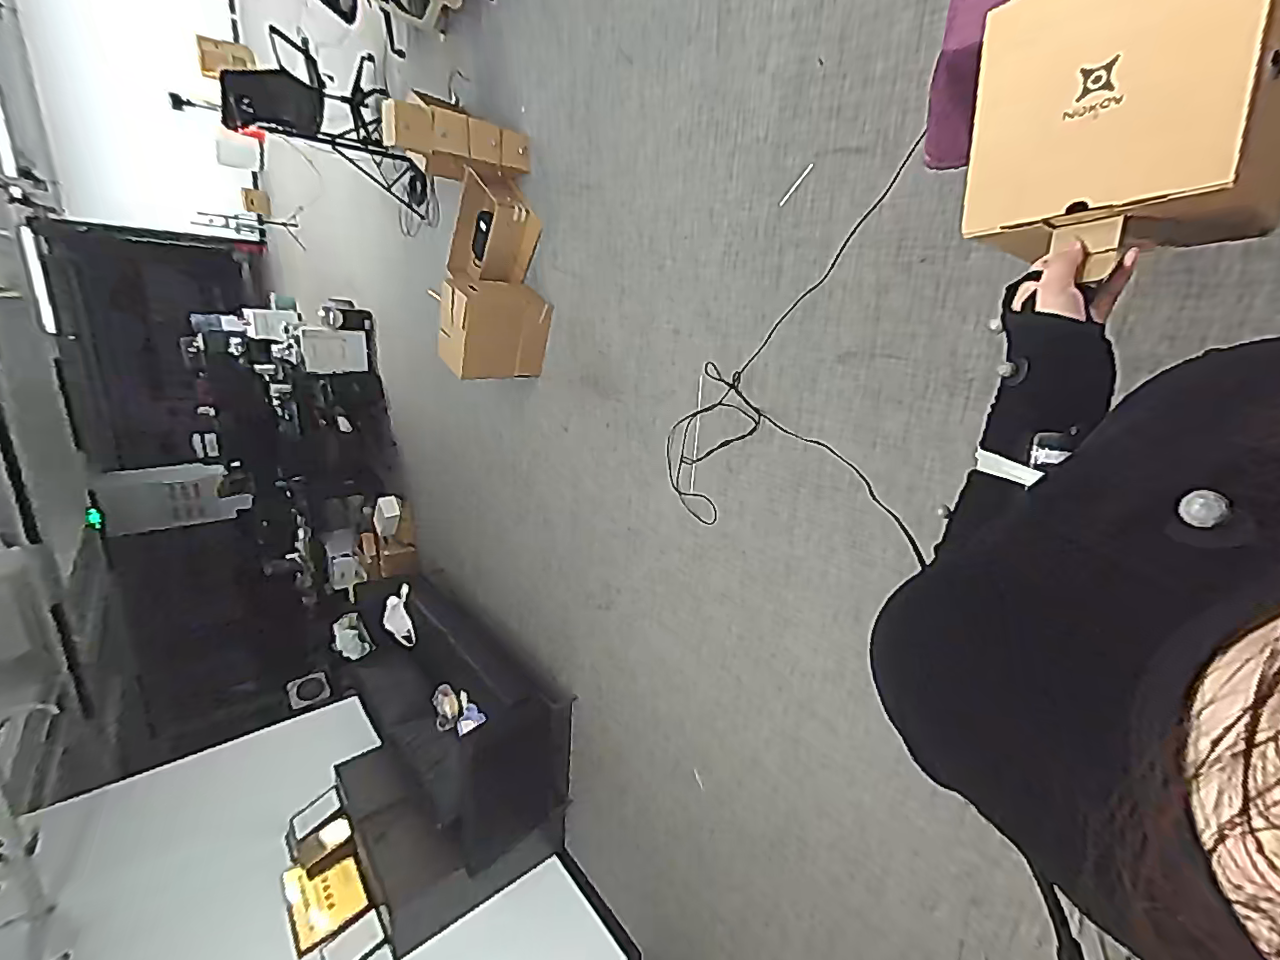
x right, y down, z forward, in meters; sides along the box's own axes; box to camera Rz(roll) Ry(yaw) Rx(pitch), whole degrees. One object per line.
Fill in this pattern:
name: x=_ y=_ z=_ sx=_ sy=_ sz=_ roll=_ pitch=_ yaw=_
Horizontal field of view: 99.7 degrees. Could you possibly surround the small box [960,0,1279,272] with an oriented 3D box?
small box: x=0.395 y=-0.282 z=0.441 sx=0.168 sy=0.176 sz=0.179 roll=16 pitch=107 yaw=52
